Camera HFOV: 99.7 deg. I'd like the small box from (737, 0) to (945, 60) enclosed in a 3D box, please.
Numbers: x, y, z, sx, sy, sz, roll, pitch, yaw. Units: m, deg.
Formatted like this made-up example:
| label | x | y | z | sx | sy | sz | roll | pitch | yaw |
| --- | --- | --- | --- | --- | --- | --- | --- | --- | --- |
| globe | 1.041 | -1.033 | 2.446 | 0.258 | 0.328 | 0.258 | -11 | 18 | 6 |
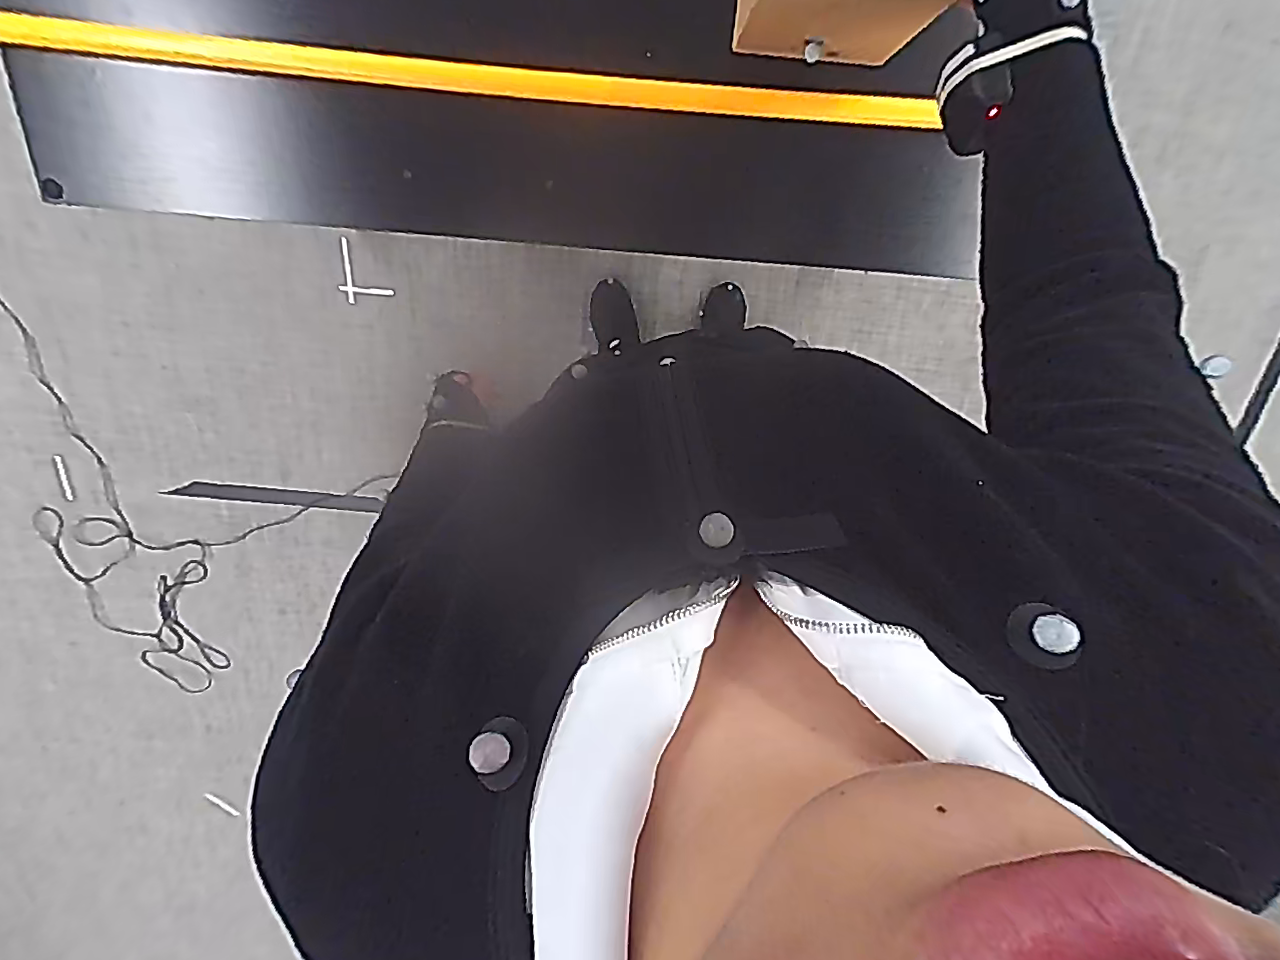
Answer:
| label | x | y | z | sx | sy | sz | roll | pitch | yaw |
| --- | --- | --- | --- | --- | --- | --- | --- | --- | --- |
| small box | 0.190 | -0.520 | 0.486 | 0.168 | 0.176 | 0.179 | 5 | 112 | -1 |
